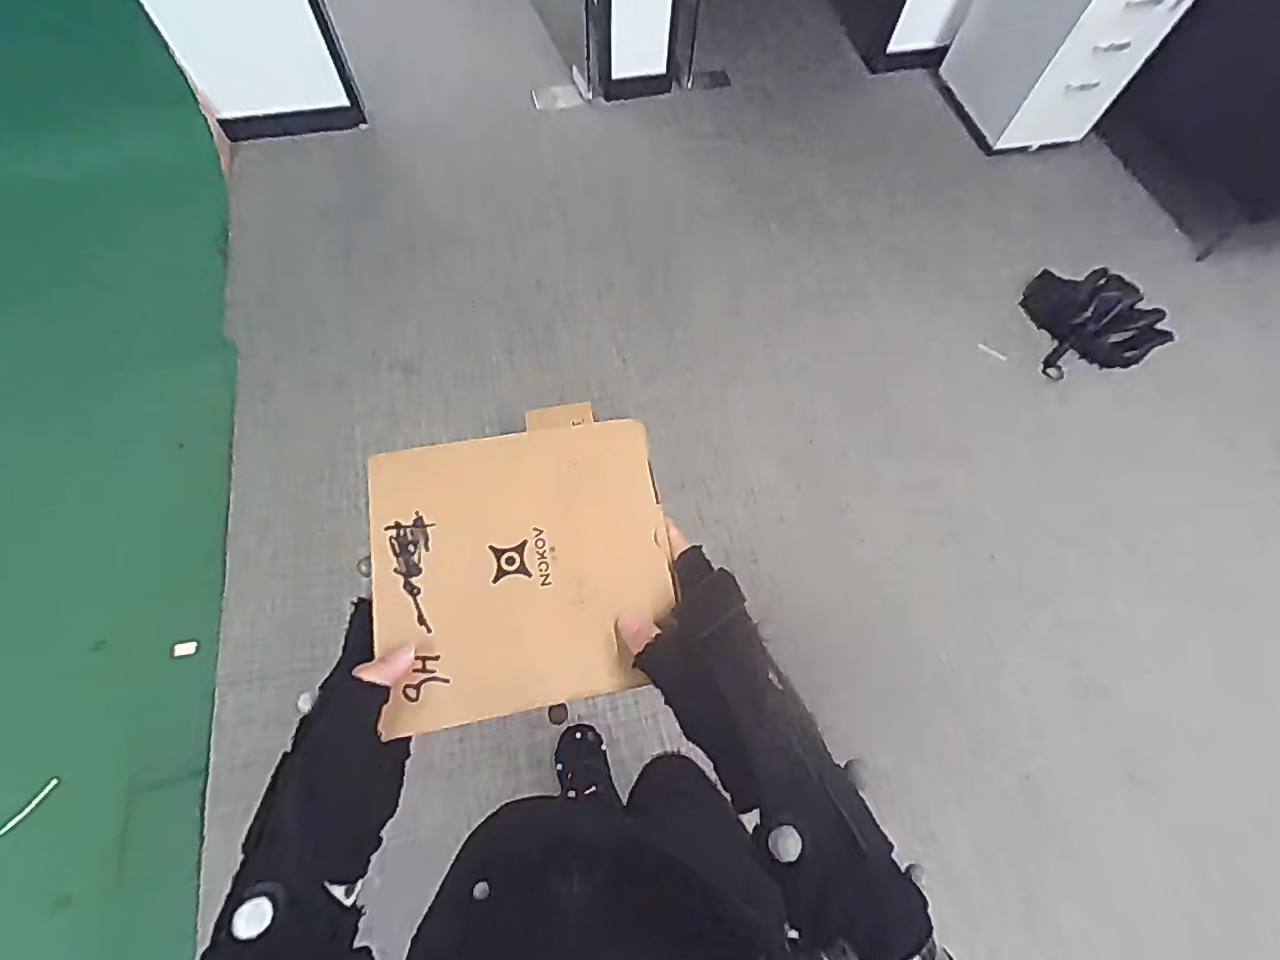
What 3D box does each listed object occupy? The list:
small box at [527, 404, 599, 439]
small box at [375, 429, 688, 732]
[{"bbox_3d":[-0.195,-0.079,1.441,0.179,0.176,0.168,-11,67,-8],"label":"small box"},{"bbox_3d":[-0.078,0.078,0.403,0.179,0.176,0.168,-8,70,-9],"label":"small box"}]
